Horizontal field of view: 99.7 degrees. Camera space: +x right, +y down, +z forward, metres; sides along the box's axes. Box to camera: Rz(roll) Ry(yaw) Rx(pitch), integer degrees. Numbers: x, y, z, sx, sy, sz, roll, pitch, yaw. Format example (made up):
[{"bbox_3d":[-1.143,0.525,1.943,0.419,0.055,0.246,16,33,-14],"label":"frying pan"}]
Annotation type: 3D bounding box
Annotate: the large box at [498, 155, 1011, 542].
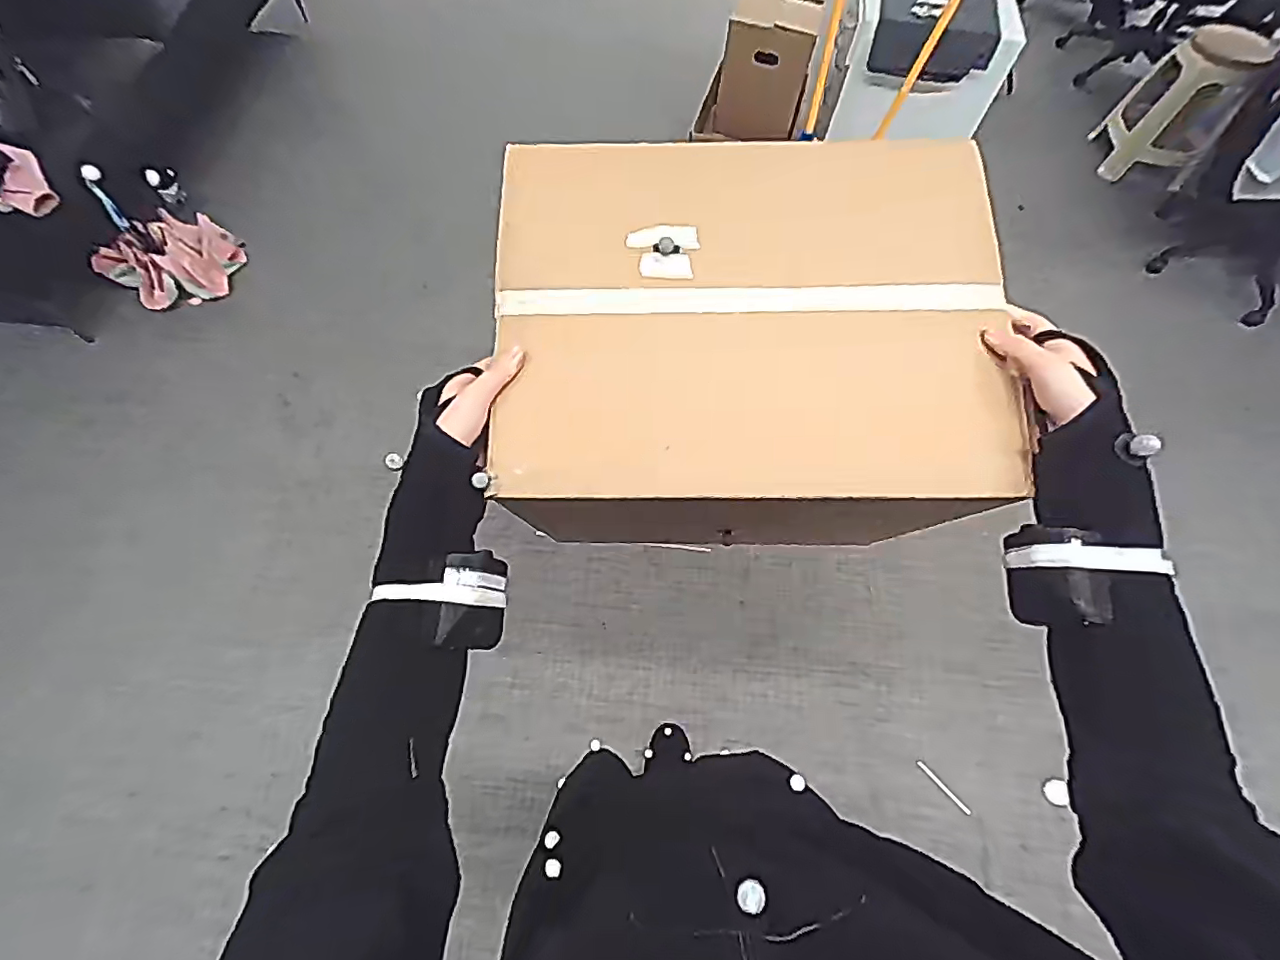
[{"bbox_3d":[0.090,-0.099,0.592,0.408,0.320,0.320,-1,77,2],"label":"large box"}]
